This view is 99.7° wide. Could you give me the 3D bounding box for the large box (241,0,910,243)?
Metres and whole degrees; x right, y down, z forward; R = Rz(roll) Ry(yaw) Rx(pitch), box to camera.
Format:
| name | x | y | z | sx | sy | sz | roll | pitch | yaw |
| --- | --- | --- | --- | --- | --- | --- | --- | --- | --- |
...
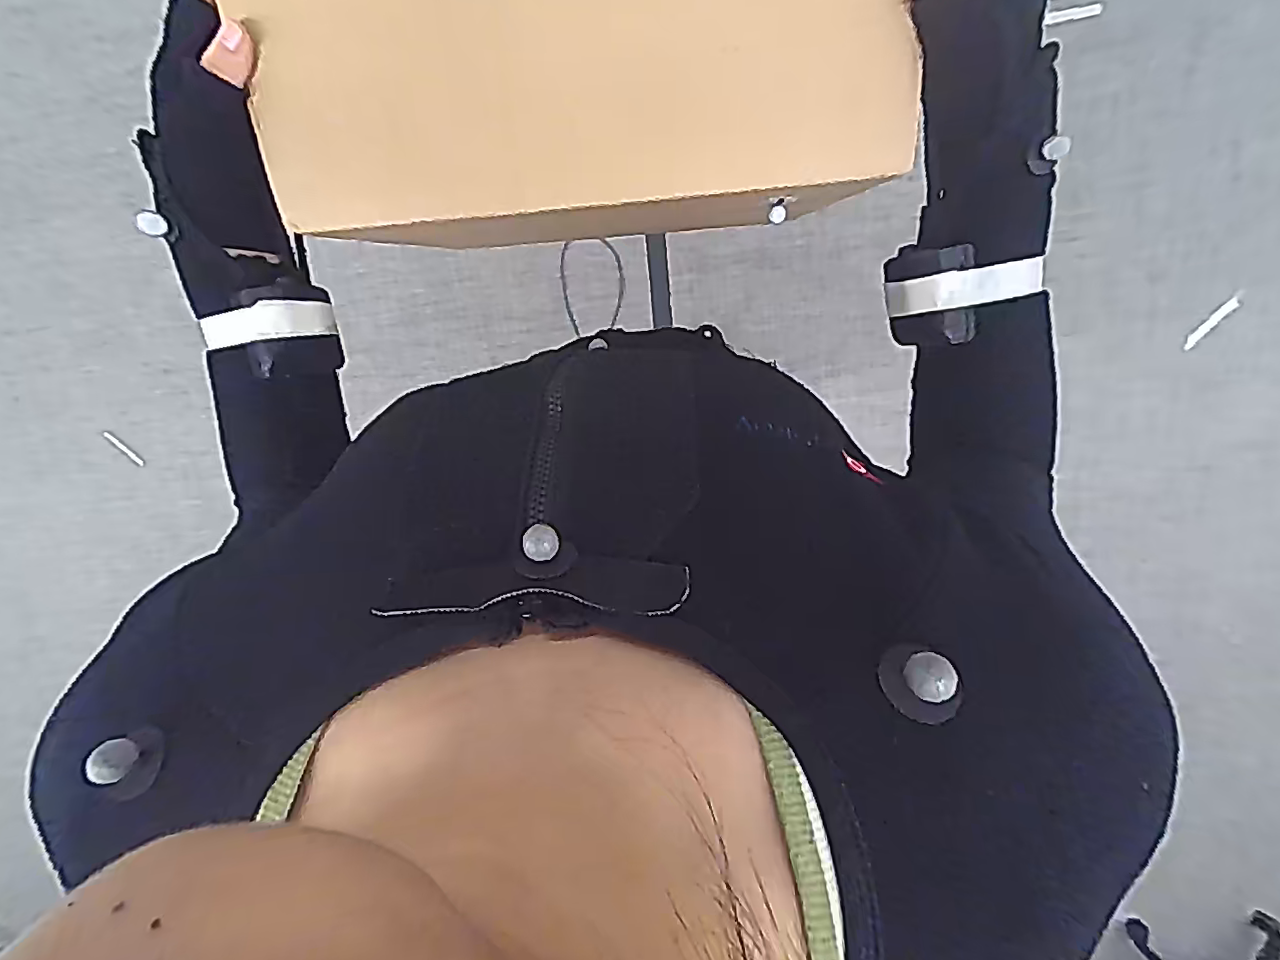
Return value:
| name | x | y | z | sx | sy | sz | roll | pitch | yaw |
| --- | --- | --- | --- | --- | --- | --- | --- | --- | --- |
| large box | -0.038 | -0.382 | 0.441 | 0.408 | 0.320 | 0.320 | -3 | 111 | 4 |
